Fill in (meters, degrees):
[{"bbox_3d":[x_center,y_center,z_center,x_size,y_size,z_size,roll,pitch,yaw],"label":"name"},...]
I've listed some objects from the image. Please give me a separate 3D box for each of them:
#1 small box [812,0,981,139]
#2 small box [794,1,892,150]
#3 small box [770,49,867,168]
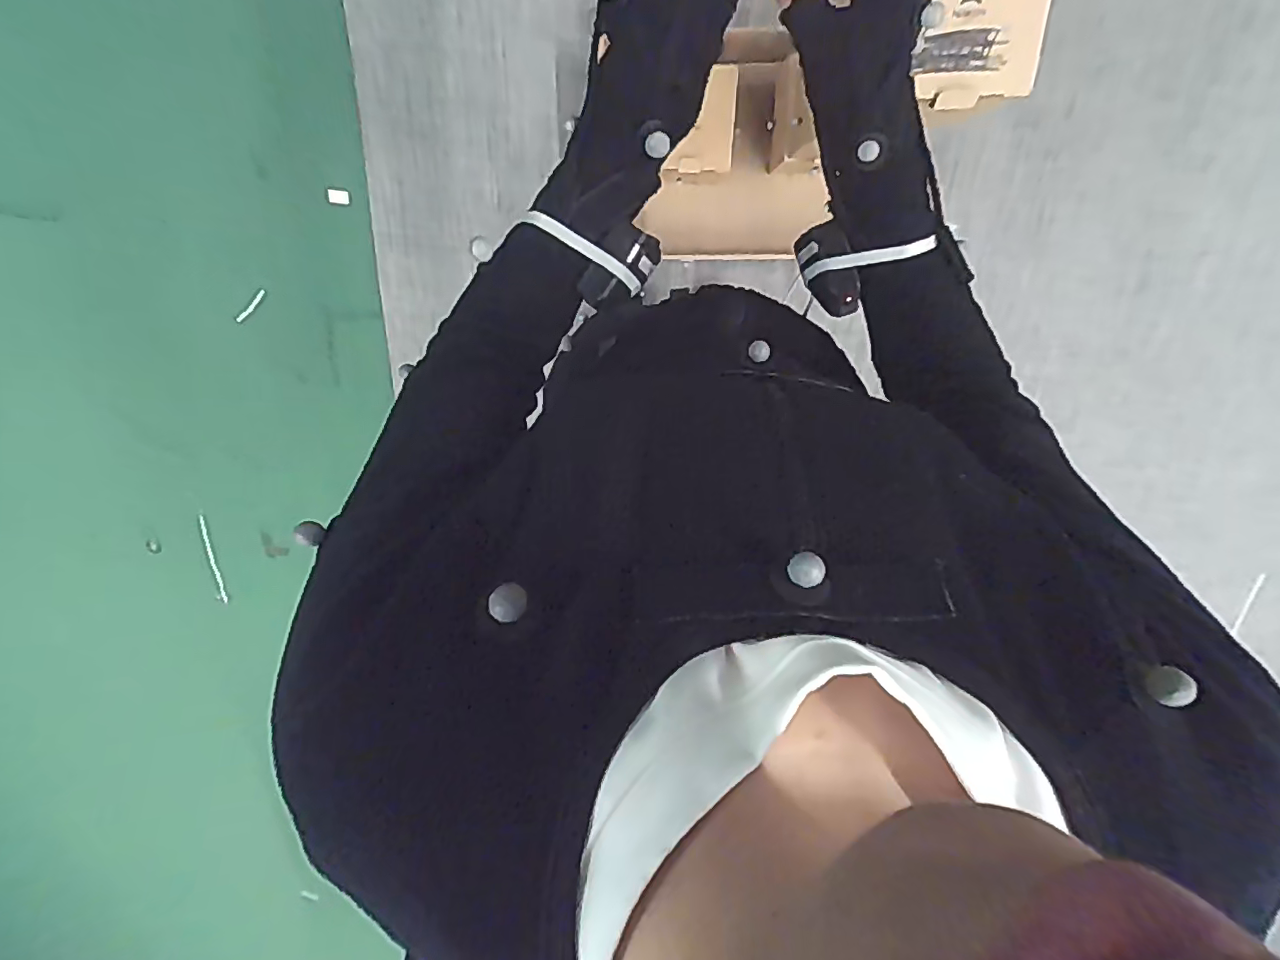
[{"bbox_3d":[0.358,-0.610,0.785,0.168,0.176,0.179,1,112,1],"label":"small box"},{"bbox_3d":[0.366,-0.672,0.919,0.168,0.176,0.179,1,112,3],"label":"small box"},{"bbox_3d":[0.360,-0.740,1.087,0.168,0.176,0.179,-3,112,5],"label":"small box"}]
